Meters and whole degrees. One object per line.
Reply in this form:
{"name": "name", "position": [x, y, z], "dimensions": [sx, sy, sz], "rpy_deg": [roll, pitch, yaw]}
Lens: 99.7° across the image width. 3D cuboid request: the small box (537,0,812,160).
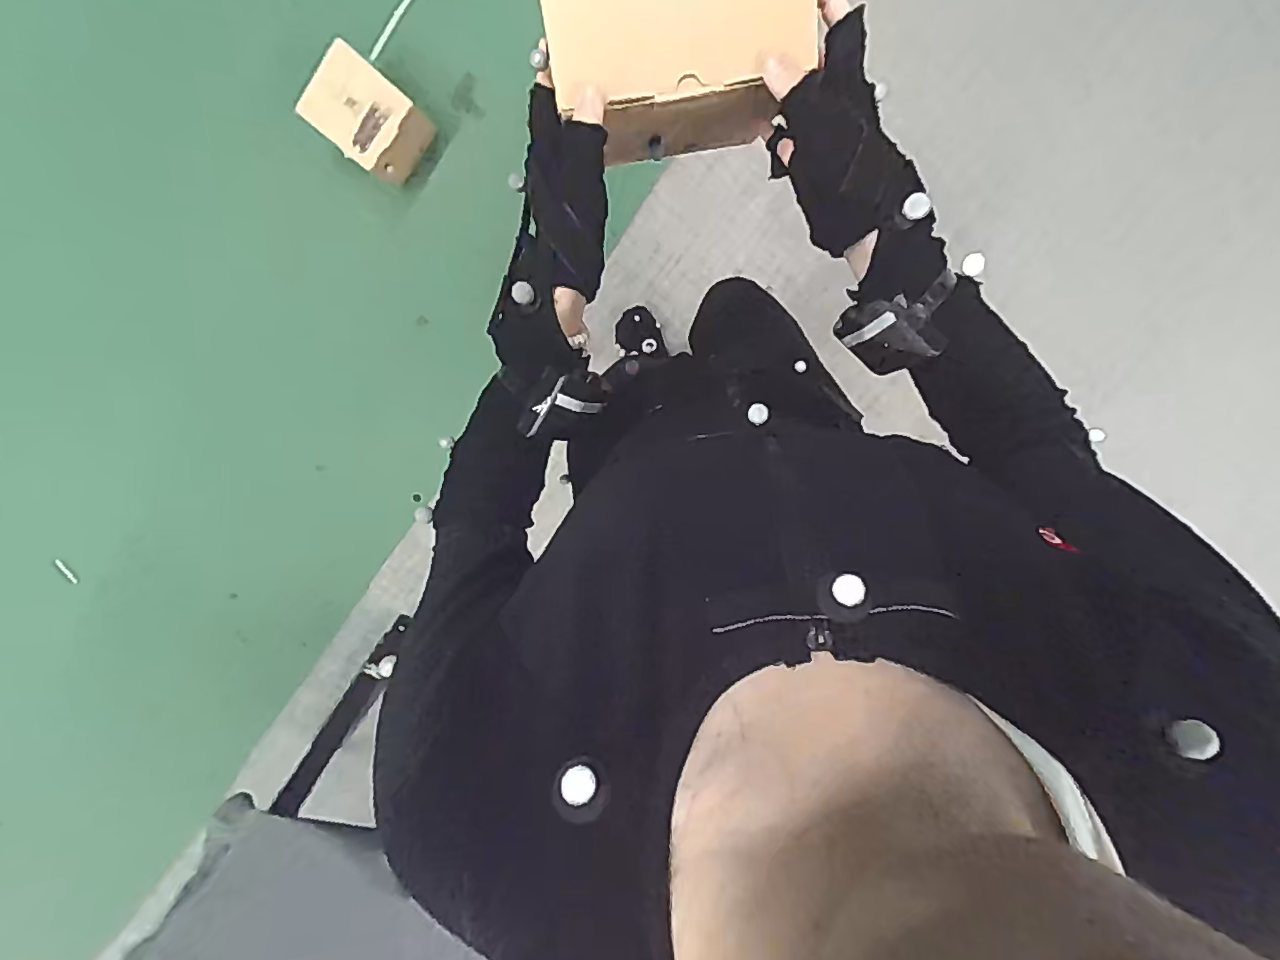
{"name": "small box", "position": [0.009, -0.352, 0.383], "dimensions": [0.168, 0.176, 0.179], "rpy_deg": [-10, 112, 0]}
